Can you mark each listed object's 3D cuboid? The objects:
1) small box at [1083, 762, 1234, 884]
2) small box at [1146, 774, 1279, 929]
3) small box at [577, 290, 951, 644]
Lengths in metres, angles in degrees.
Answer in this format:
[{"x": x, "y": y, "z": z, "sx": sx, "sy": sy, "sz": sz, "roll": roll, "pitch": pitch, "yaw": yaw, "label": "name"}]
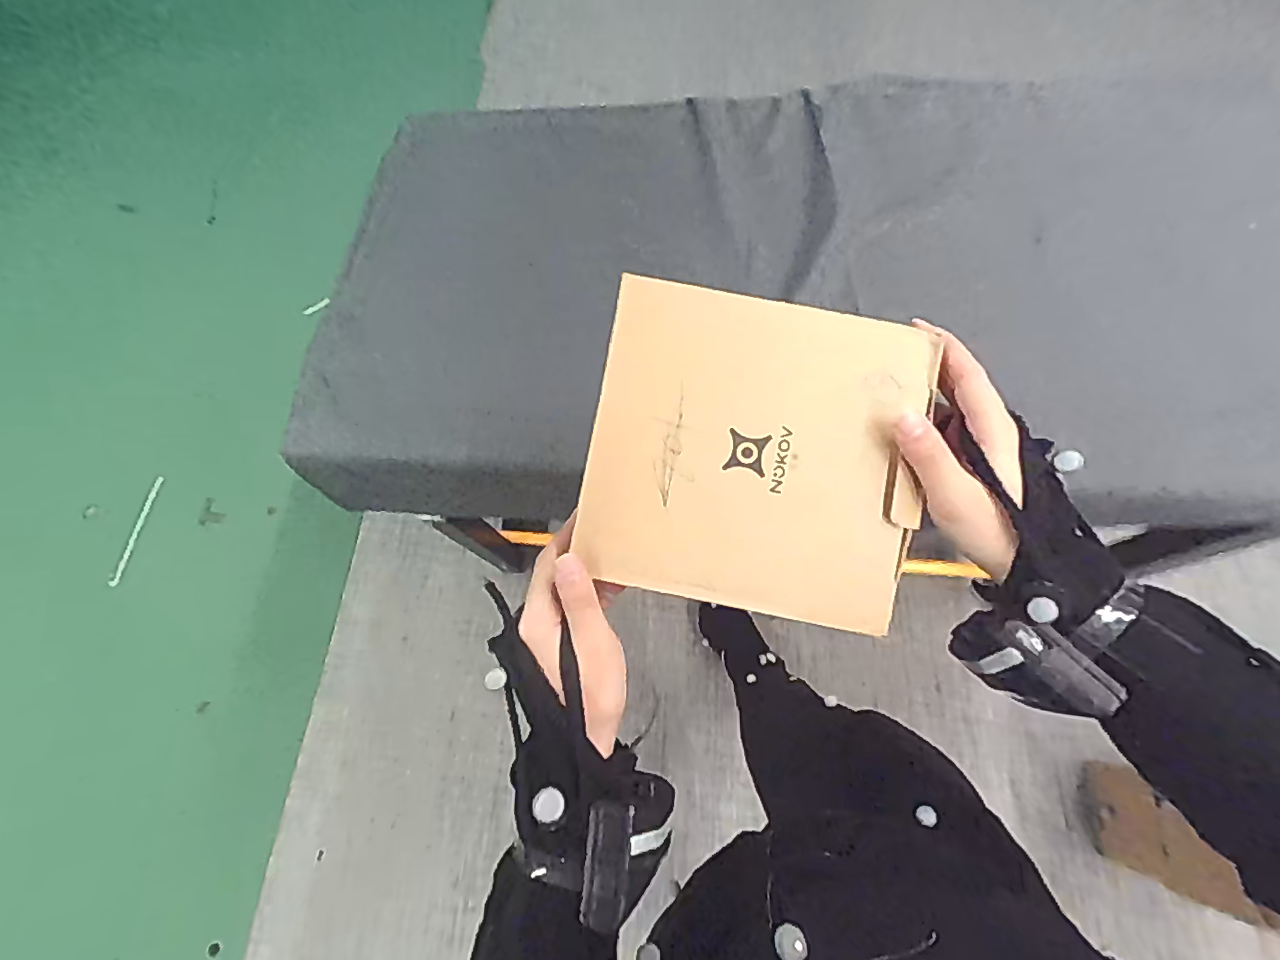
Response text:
[{"x": 0.928, "y": 0.594, "z": 0.937, "sx": 0.179, "sy": 0.176, "sz": 0.168, "roll": 3, "pitch": 67, "yaw": 9, "label": "small box"}, {"x": 0.897, "y": 0.534, "z": 0.786, "sx": 0.179, "sy": 0.176, "sz": 0.168, "roll": 1, "pitch": 68, "yaw": 7, "label": "small box"}, {"x": 0.068, "y": -0.006, "z": 0.366, "sx": 0.179, "sy": 0.176, "sz": 0.168, "roll": 10, "pitch": 88, "yaw": 3, "label": "small box"}]
